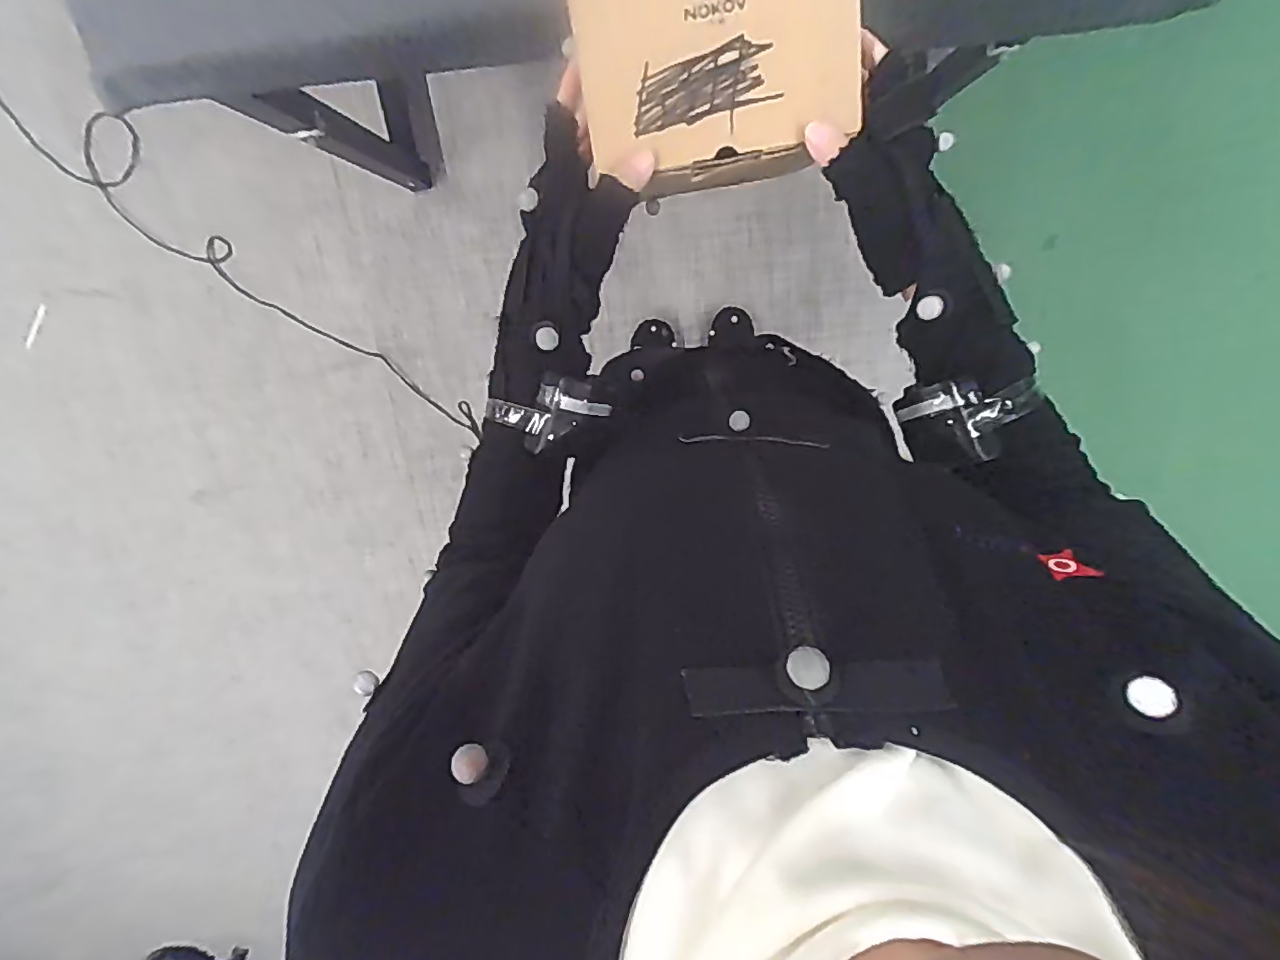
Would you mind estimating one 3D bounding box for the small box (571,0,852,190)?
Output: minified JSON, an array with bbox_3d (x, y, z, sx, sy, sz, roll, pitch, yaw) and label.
[{"bbox_3d":[0.044,-0.317,0.386,0.168,0.176,0.179,-6,112,4],"label":"small box"}]
